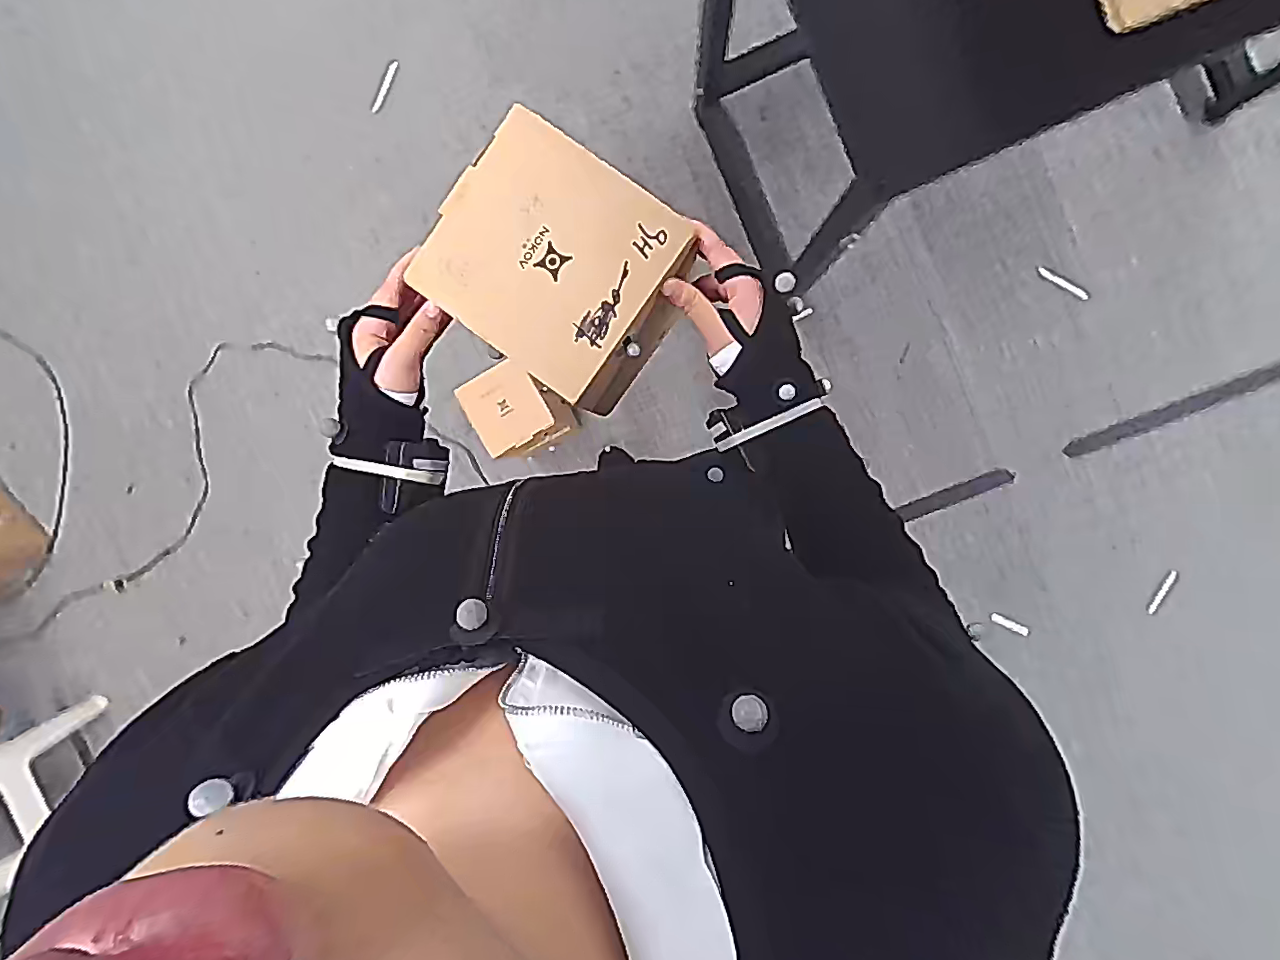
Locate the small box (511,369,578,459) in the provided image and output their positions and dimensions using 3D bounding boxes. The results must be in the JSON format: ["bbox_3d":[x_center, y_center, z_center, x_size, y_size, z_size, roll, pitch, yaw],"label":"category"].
[{"bbox_3d":[-0.281,-0.168,1.419,0.168,0.176,0.179,-27,93,5],"label":"small box"}]

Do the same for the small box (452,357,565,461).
[{"bbox_3d":[-0.295,-0.161,1.257,0.168,0.176,0.179,-30,91,4],"label":"small box"}]
